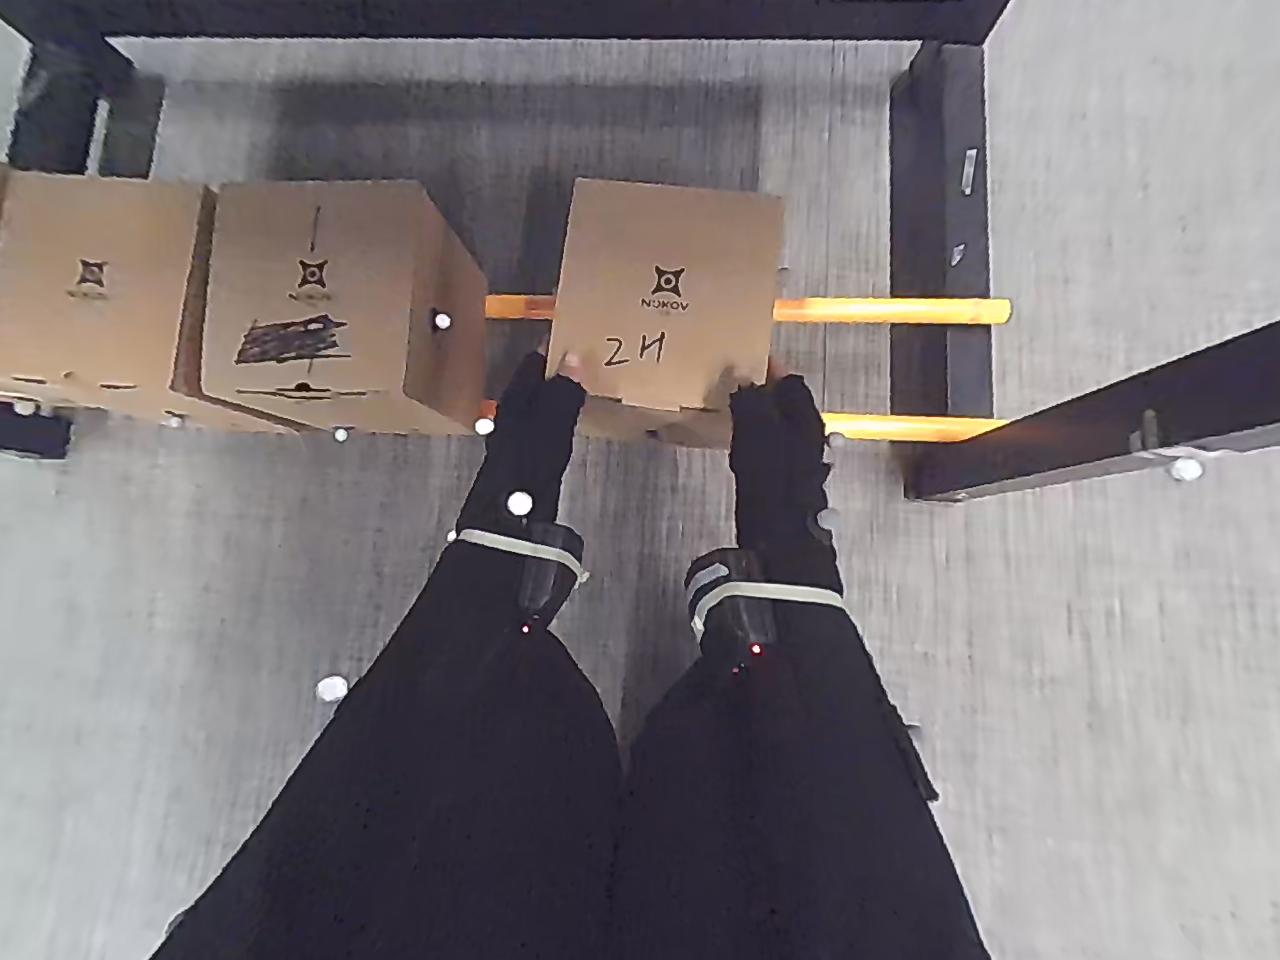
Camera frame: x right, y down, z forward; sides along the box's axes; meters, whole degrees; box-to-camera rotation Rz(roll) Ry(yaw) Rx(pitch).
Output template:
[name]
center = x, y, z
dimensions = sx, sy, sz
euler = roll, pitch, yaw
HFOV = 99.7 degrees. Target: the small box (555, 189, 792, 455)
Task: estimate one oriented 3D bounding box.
[small box]
center = 0.032, -0.128, 0.496
dimensions = 0.168, 0.176, 0.179
euler = 7, 85, 5
